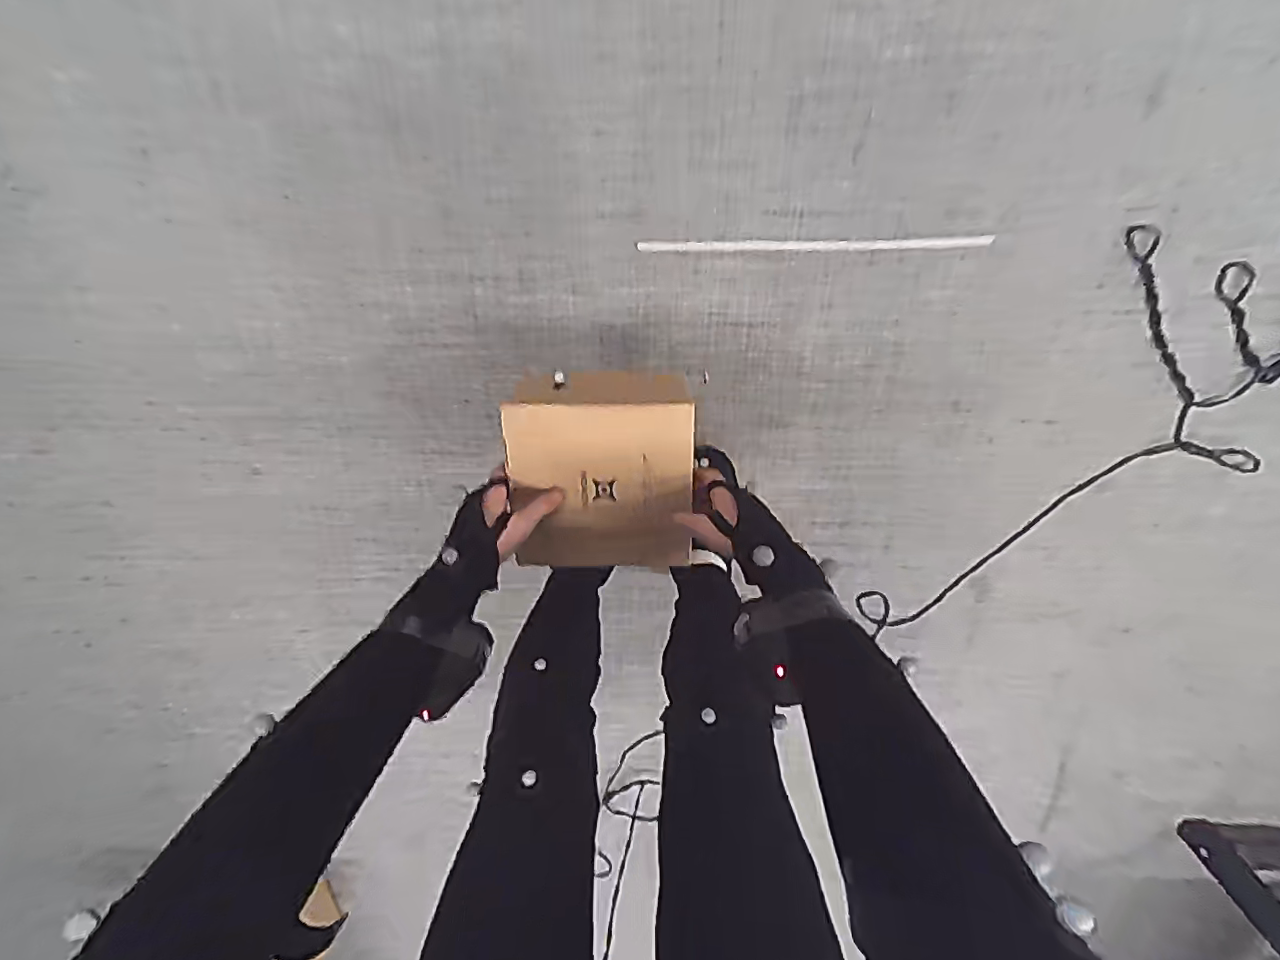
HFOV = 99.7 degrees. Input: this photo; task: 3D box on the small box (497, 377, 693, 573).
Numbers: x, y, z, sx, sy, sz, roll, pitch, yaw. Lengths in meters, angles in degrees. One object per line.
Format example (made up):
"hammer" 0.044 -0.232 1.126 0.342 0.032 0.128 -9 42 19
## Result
"small box" -0.038 -0.014 0.576 0.179 0.176 0.168 -1 110 1
